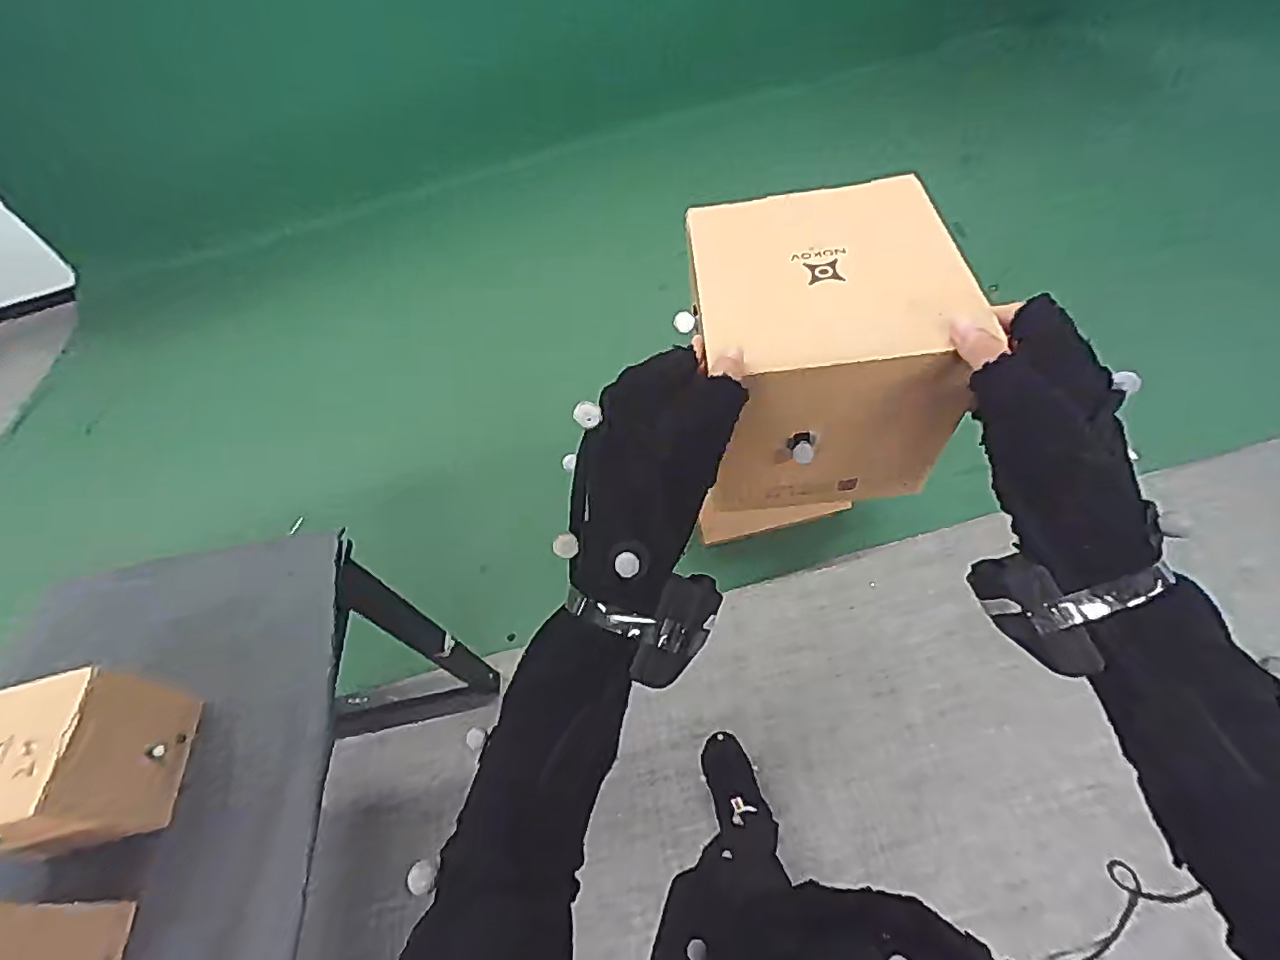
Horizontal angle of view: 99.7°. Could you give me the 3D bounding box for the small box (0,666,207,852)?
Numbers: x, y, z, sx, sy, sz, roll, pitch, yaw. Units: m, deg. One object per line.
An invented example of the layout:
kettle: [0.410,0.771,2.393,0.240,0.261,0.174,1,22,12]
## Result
small box: [-0.724,0.363,0.695,0.179,0.176,0.168,-15,53,2]

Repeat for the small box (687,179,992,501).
small box: [0.130,-0.095,0.422,0.168,0.176,0.179,-6,56,6]
